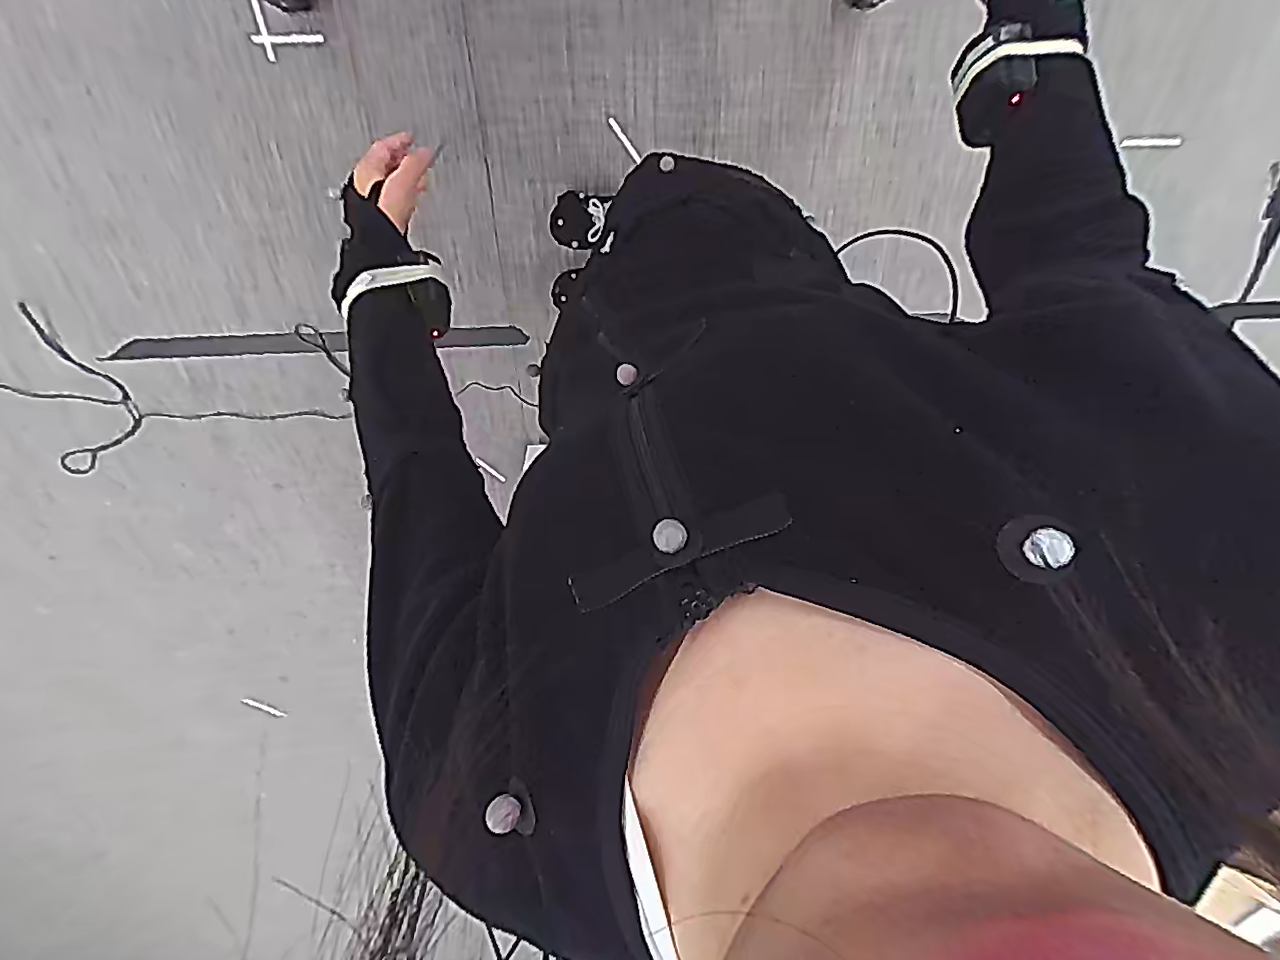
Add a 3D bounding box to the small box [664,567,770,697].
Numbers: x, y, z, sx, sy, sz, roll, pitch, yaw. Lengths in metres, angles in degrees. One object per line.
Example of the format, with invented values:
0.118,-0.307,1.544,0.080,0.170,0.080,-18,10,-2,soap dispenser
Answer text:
0.139,0.289,1.041,0.168,0.176,0.179,-3,121,-4,small box
